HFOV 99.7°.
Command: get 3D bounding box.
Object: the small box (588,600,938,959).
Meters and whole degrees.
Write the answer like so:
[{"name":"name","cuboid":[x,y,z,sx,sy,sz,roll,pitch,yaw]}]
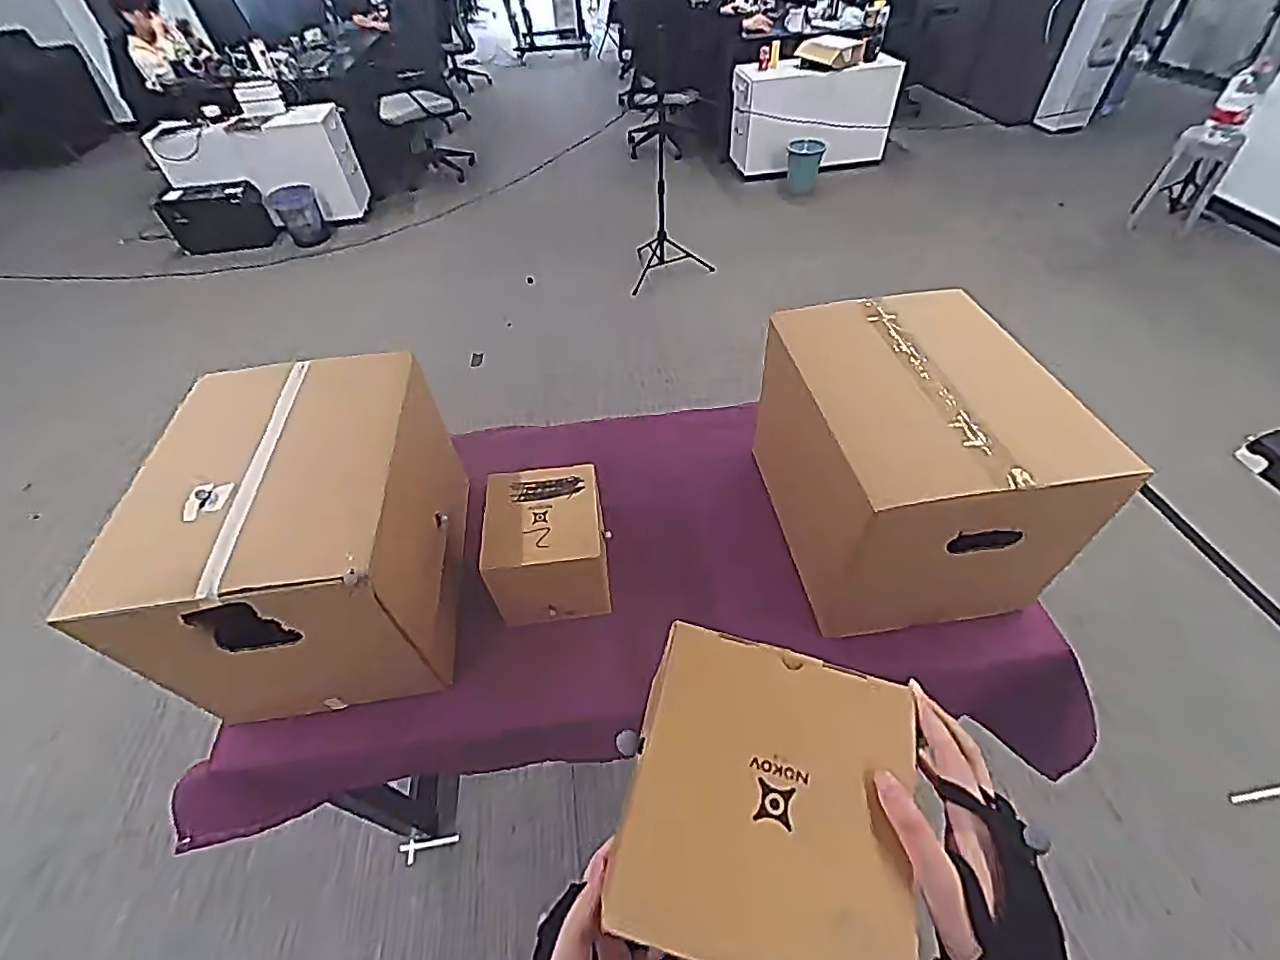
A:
[{"name":"small box","cuboid":[0.085,0.198,0.362,0.179,0.176,0.168,-1,35,18]}]
